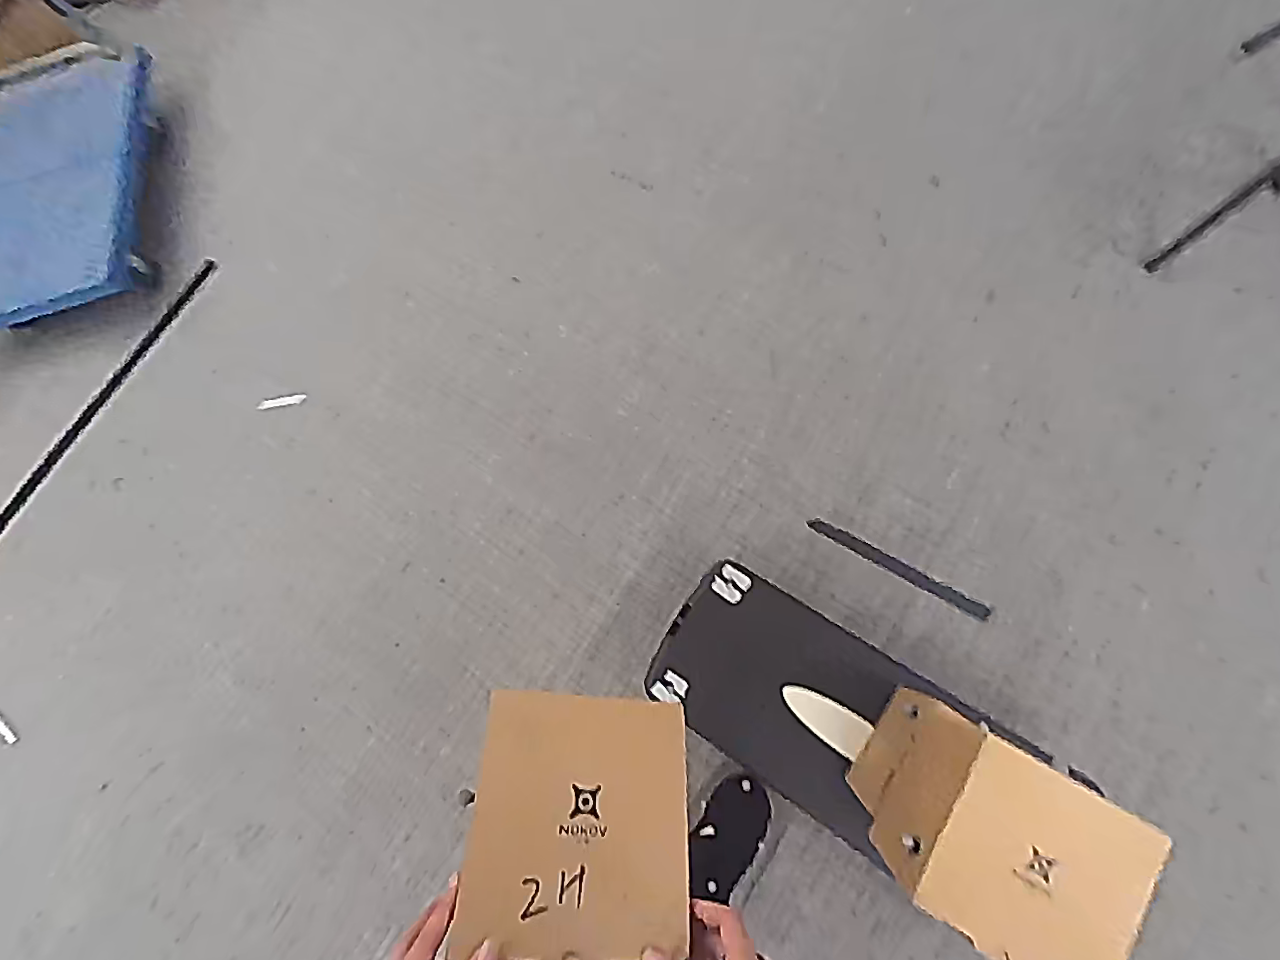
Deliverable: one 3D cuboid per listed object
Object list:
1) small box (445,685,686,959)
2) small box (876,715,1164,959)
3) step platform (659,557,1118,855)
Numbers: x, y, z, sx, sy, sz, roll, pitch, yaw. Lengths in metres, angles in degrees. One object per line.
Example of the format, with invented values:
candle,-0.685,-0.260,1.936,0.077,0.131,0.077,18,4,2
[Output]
small box,-0.062,0.297,0.471,0.168,0.176,0.179,9,54,-9
small box,0.378,0.379,0.576,0.168,0.176,0.179,29,82,15
step platform,0.371,0.415,0.920,0.684,0.204,0.286,30,81,17
